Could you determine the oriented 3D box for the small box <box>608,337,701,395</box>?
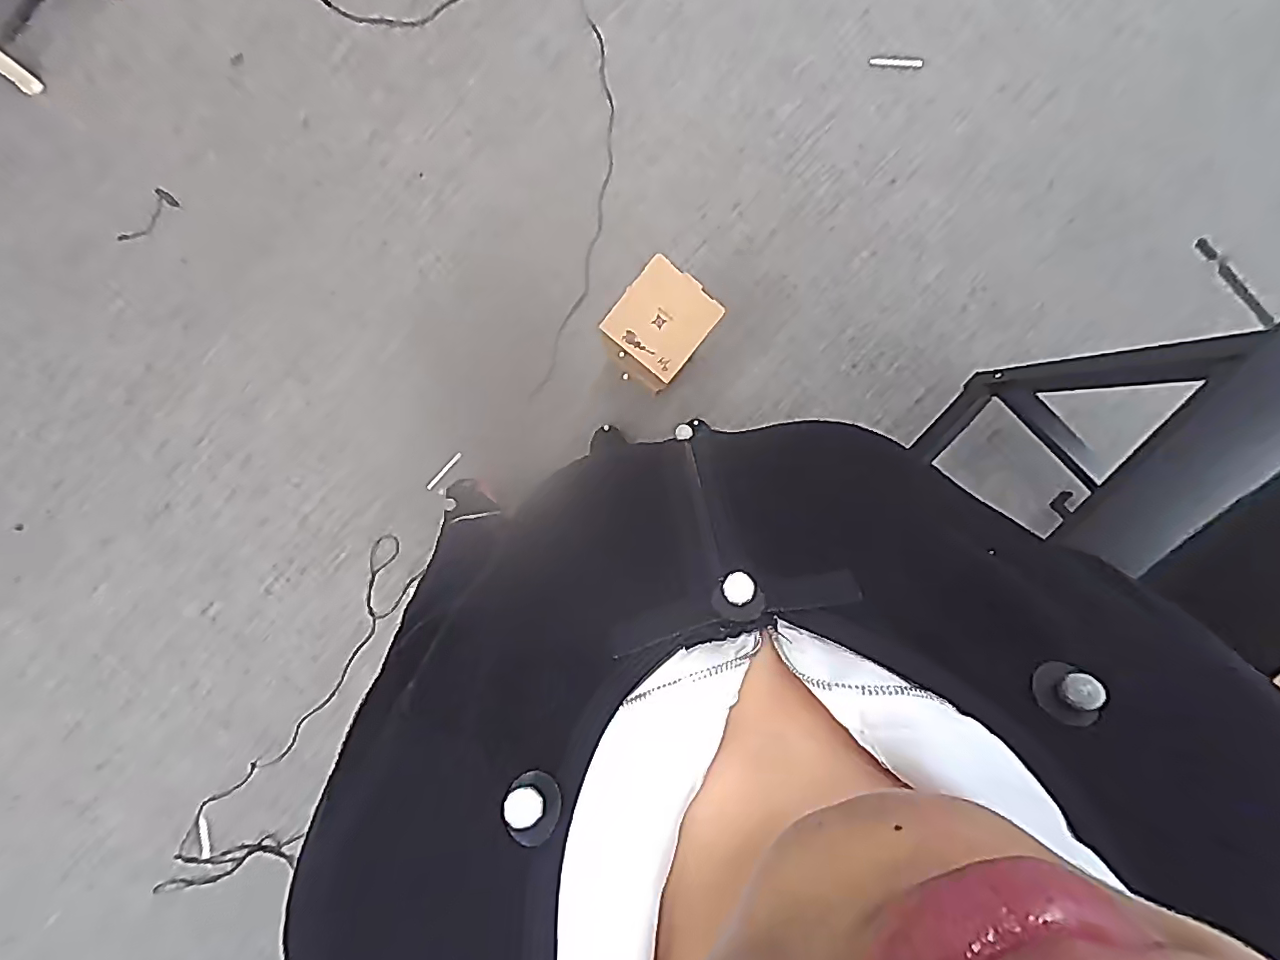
[{"bbox_3d":[0.033,-0.337,1.391,0.168,0.176,0.179,39,94,-4],"label":"small box"}]

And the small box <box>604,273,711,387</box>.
[{"bbox_3d":[0.037,-0.328,1.230,0.168,0.176,0.179,36,92,-5],"label":"small box"}]
